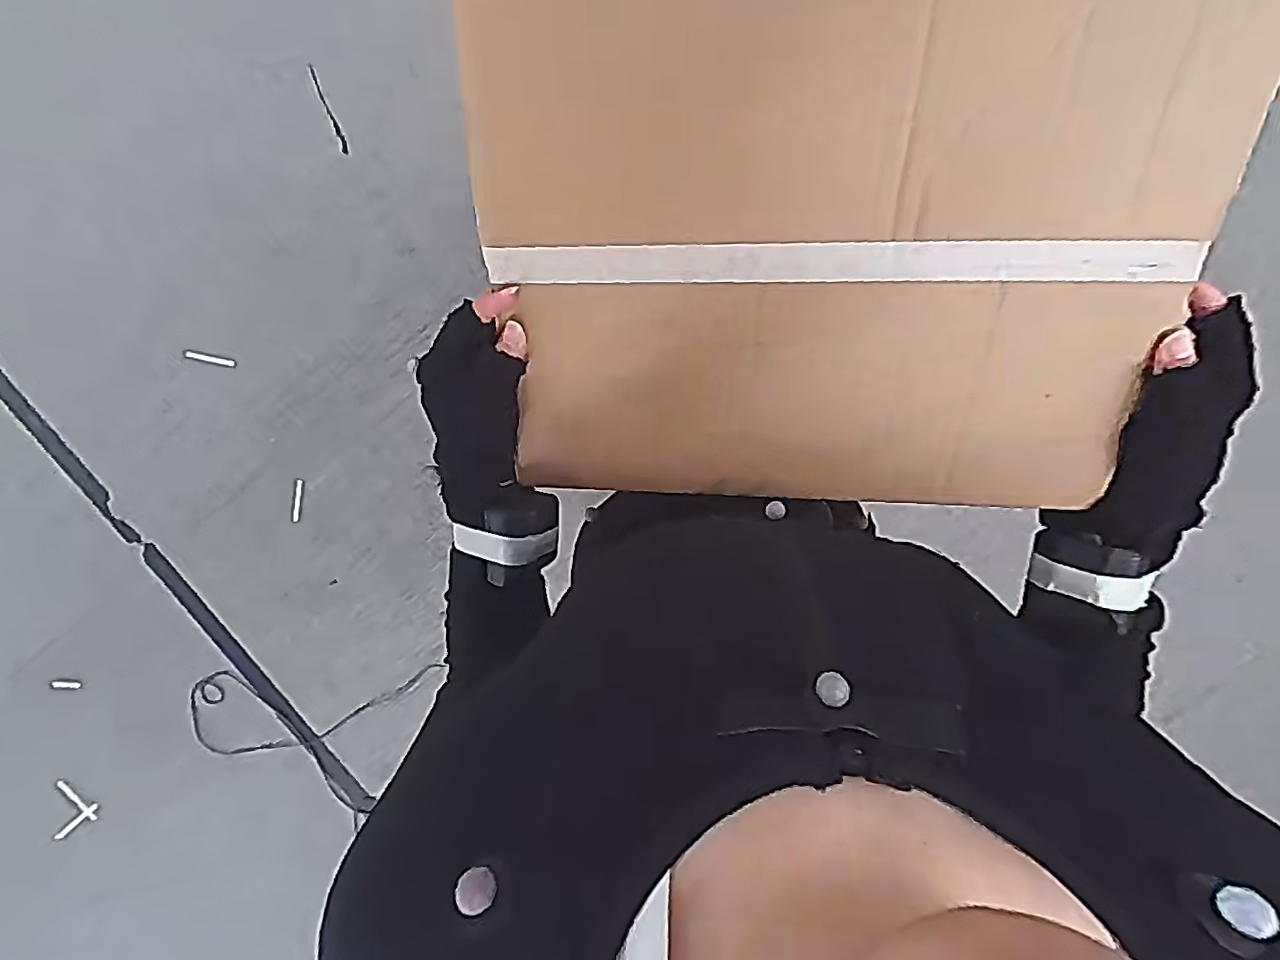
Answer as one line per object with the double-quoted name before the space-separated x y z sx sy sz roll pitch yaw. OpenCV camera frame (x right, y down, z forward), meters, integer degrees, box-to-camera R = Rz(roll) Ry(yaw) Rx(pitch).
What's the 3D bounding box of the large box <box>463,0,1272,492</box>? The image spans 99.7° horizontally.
"large box" 0.118 -0.199 0.459 0.408 0.320 0.320 2 118 5
